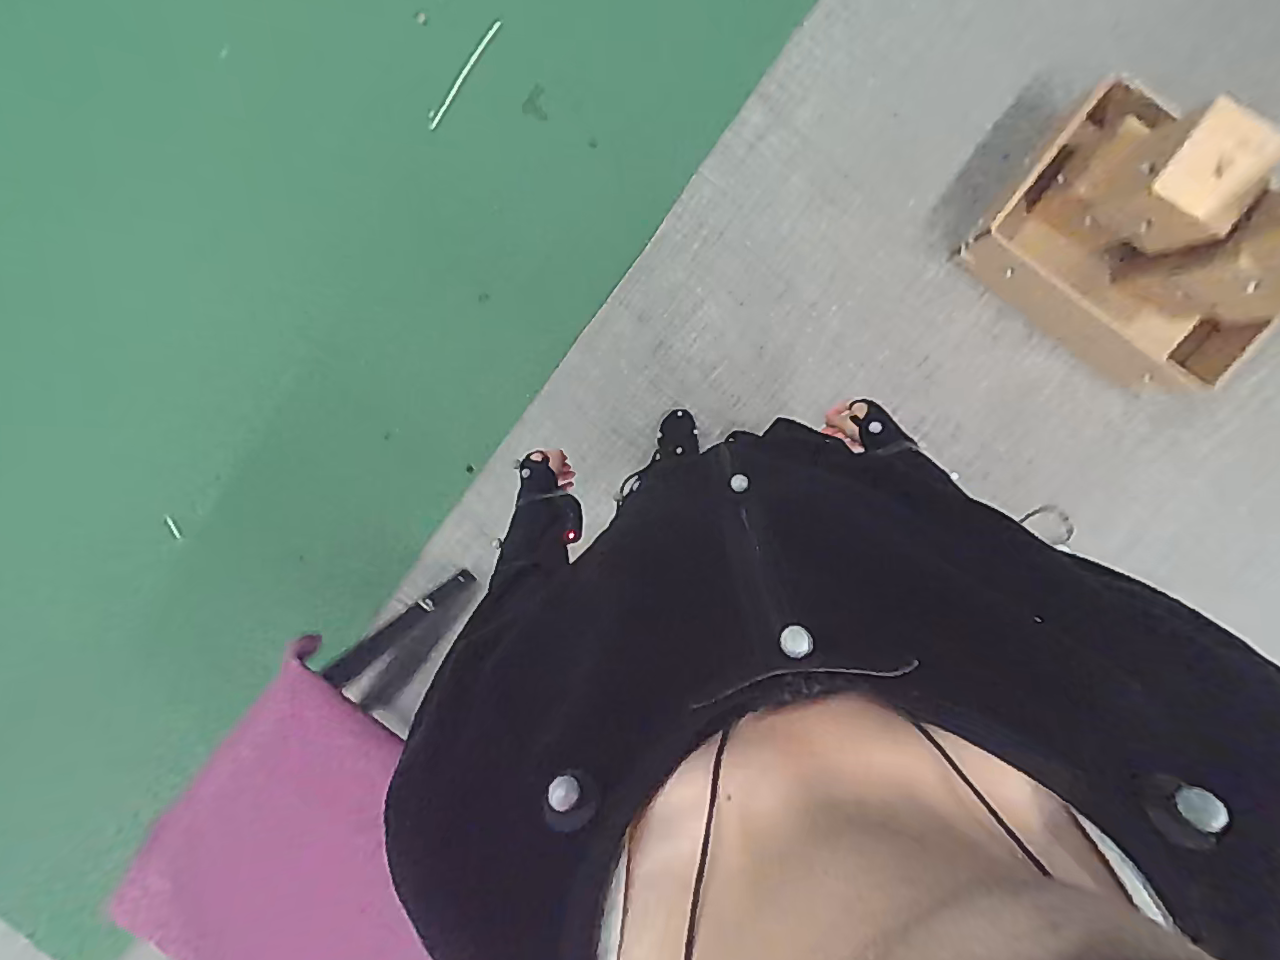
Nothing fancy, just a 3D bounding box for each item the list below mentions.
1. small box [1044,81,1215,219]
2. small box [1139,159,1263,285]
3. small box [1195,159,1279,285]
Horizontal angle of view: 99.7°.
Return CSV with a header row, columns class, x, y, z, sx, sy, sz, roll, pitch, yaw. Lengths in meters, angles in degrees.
class,x,y,z,sx,sy,sz,roll,pitch,yaw
small box,1.035,-0.695,1.164,0.179,0.176,0.168,30,103,0
small box,1.248,-0.540,1.160,0.179,0.176,0.168,28,102,4
small box,1.219,-0.492,1.004,0.168,0.176,0.179,32,102,4
